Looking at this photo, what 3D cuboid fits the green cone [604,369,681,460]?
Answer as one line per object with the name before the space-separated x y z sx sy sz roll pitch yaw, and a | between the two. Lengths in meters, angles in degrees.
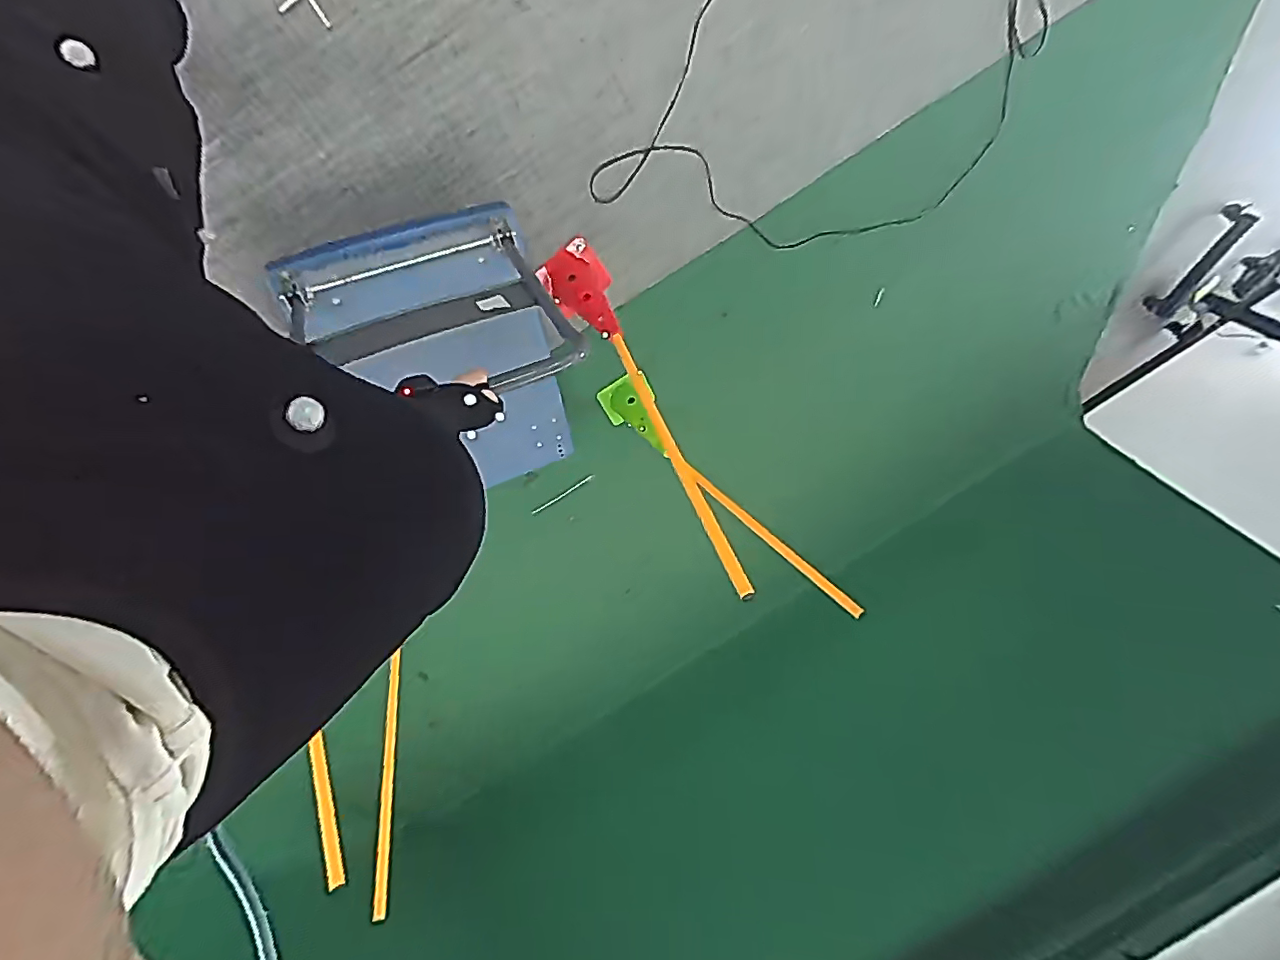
green cone | 0.045 -0.204 1.986 0.200 0.368 0.202 -33 143 1
